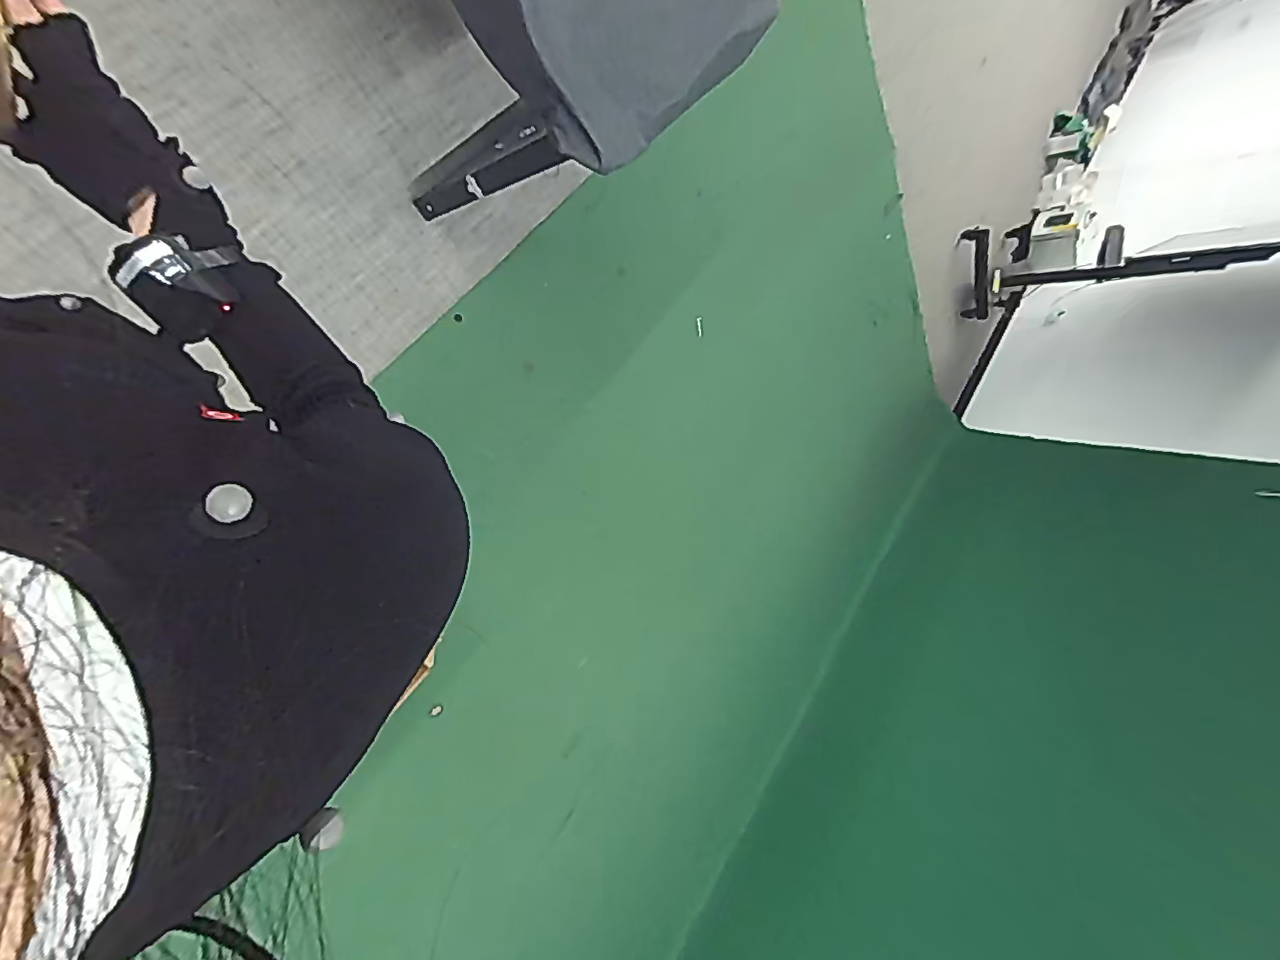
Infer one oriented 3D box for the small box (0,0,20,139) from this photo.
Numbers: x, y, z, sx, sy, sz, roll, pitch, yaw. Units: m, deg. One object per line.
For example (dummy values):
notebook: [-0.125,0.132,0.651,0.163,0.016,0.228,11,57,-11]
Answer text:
small box: [-0.466,-0.327,0.287,0.168,0.176,0.179,-7,99,-46]
